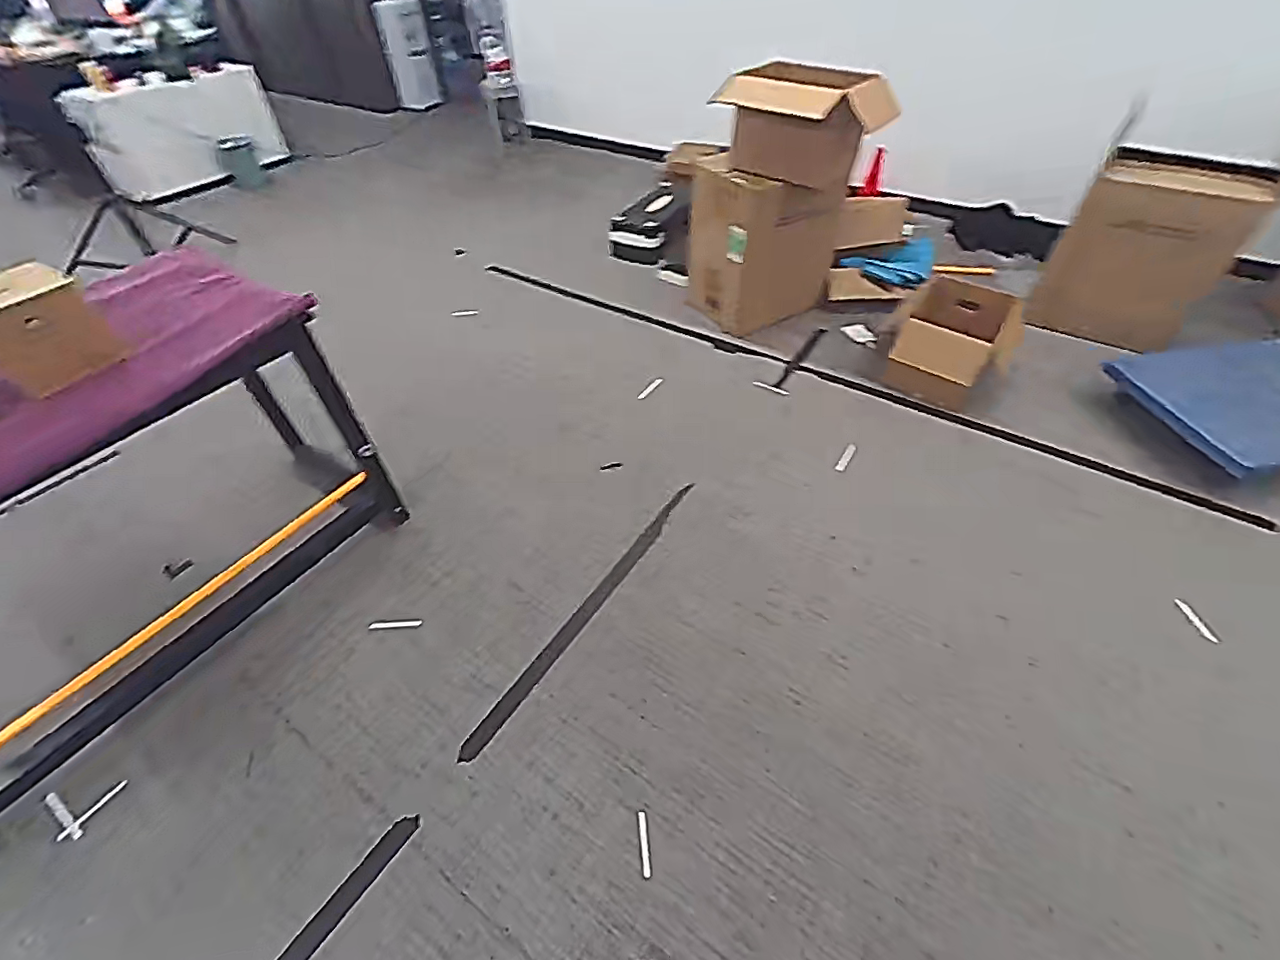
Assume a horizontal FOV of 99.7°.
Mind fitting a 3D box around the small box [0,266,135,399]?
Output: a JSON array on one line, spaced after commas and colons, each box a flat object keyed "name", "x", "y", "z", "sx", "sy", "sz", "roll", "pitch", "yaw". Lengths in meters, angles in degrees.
[{"name": "small box", "x": -1.162, "y": -0.291, "z": 1.067, "sx": 0.168, "sy": 0.176, "sz": 0.179, "roll": 23, "pitch": 52, "yaw": 22}]
